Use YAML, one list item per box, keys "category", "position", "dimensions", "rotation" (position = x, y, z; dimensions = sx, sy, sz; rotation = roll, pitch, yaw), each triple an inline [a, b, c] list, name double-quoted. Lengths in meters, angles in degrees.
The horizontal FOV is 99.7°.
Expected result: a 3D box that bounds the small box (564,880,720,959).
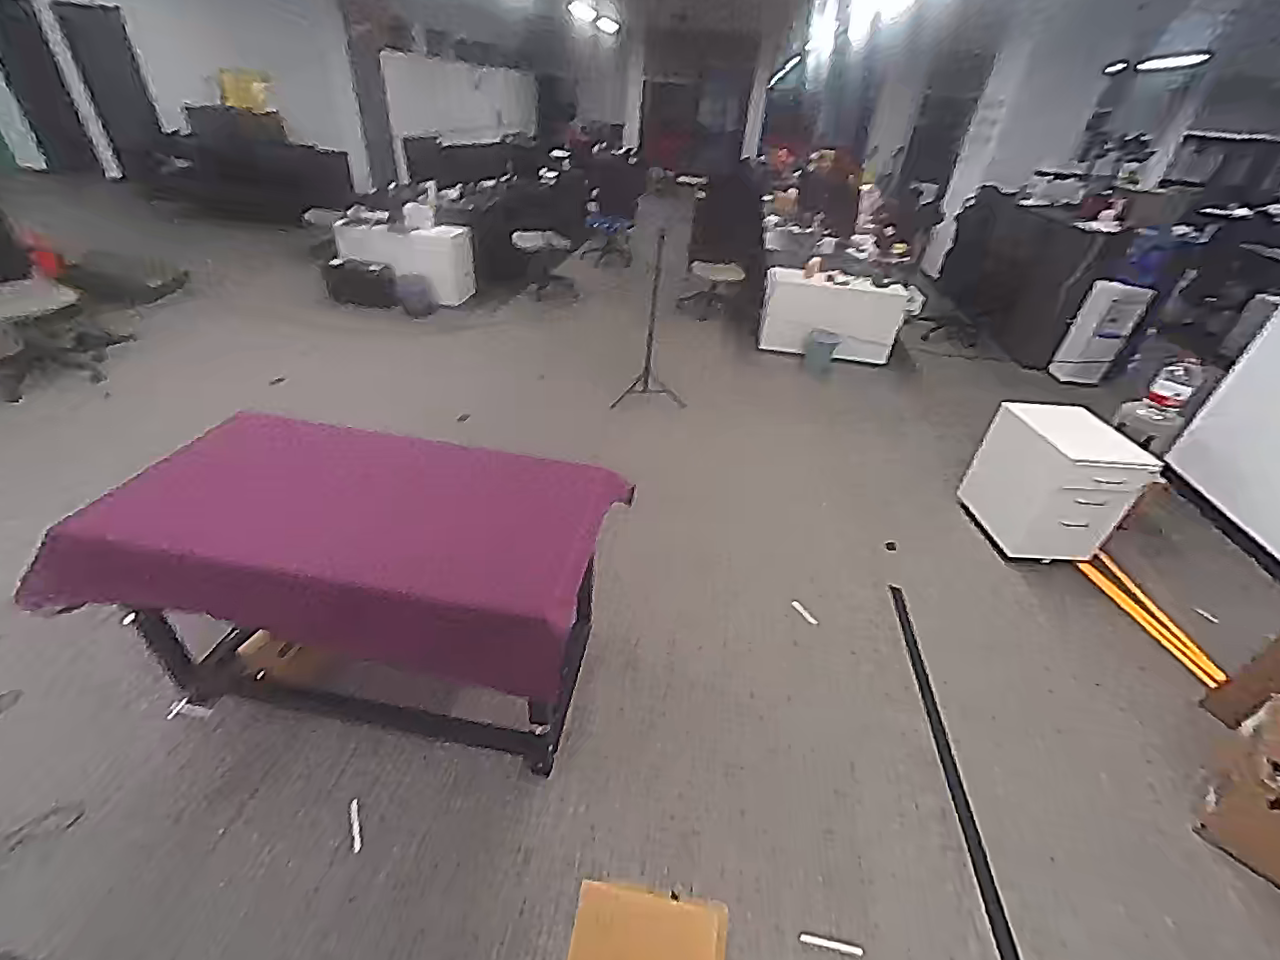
- category: "small box"
  position: [0.004, 0.602, 0.649]
  dimensions: [0.168, 0.176, 0.179]
  rotation: [2, 57, 14]
